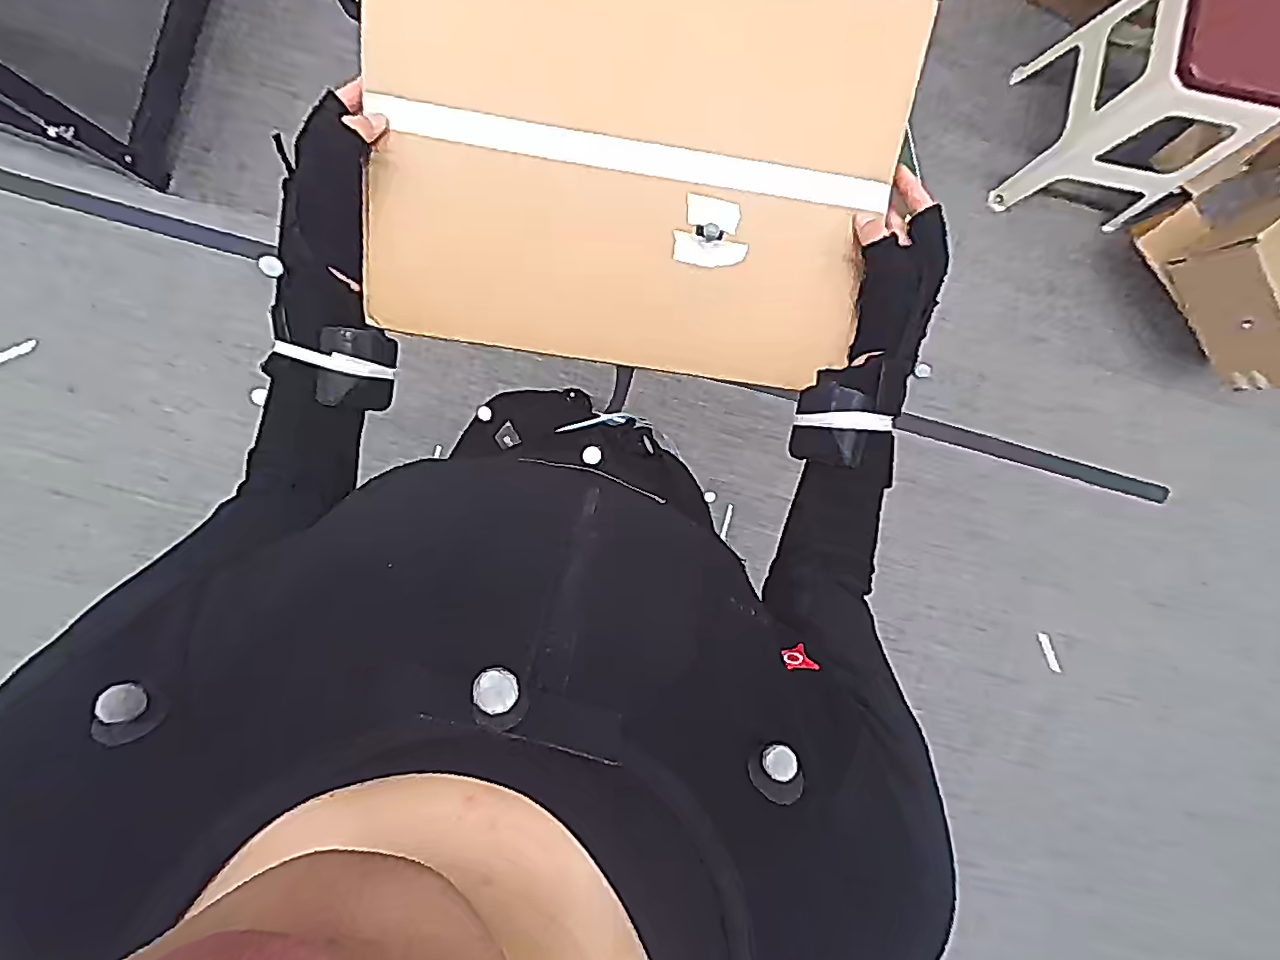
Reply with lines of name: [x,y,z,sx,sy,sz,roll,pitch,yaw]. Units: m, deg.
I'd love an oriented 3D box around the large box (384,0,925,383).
large box: [-0.008,-0.296,0.571,0.408,0.320,0.320,7,107,-5]
